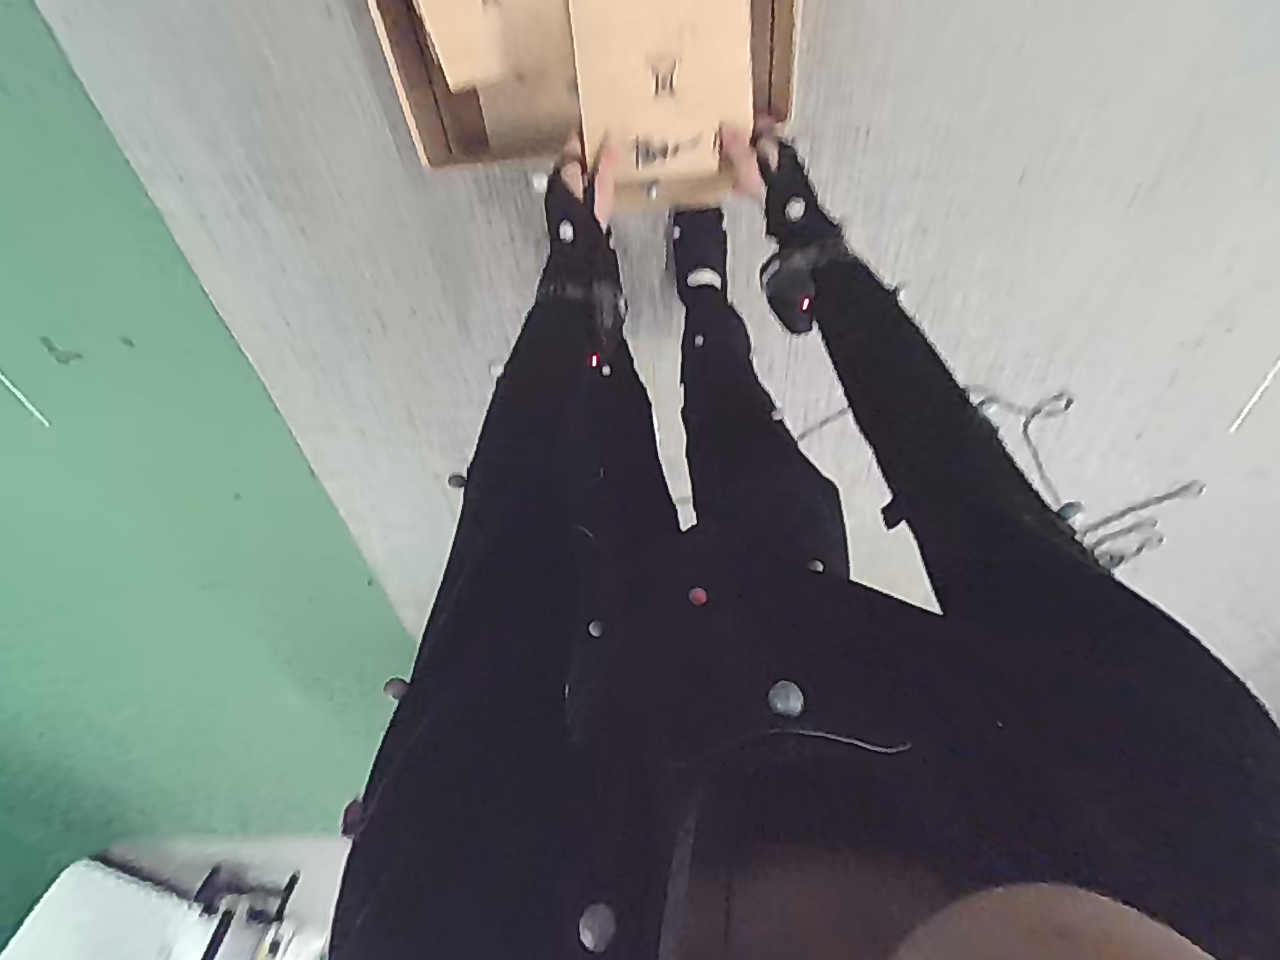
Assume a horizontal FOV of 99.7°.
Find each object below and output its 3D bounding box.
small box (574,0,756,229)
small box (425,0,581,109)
[{"bbox_3d":[0.024,-0.392,0.591,0.168,0.176,0.179,-6,106,1],"label":"small box"},{"bbox_3d":[-0.171,-0.614,0.702,0.168,0.176,0.179,-10,130,6],"label":"small box"}]
